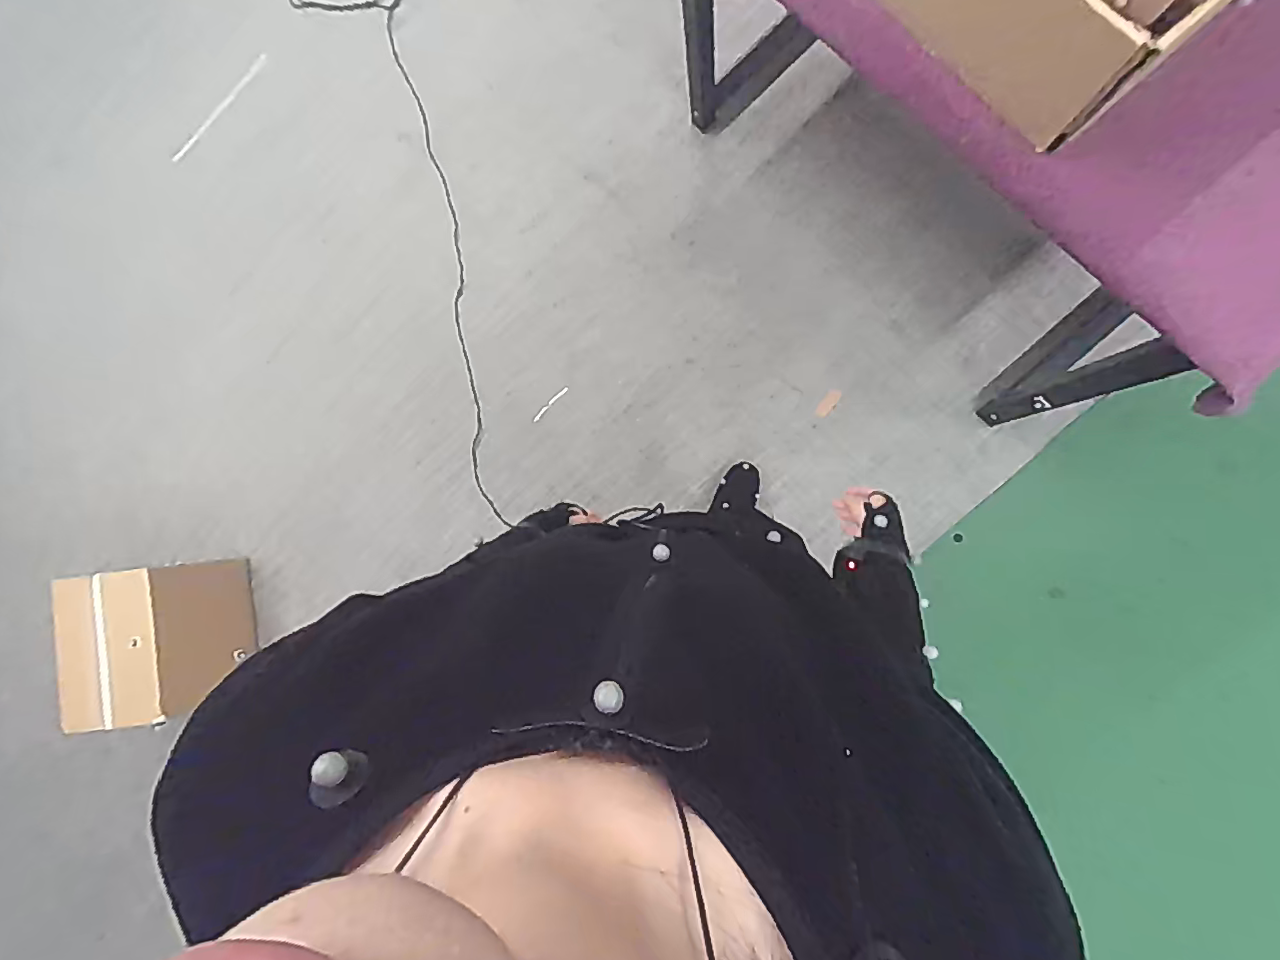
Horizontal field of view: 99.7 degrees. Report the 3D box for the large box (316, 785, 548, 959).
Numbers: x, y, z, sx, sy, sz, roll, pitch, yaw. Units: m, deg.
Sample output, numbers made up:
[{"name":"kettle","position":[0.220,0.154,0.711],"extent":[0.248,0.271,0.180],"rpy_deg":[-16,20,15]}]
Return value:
[{"name":"large box","position":[-0.517,1.107,1.412],"extent":[0.408,0.320,0.320],"rpy_deg":[33,93,6]}]
